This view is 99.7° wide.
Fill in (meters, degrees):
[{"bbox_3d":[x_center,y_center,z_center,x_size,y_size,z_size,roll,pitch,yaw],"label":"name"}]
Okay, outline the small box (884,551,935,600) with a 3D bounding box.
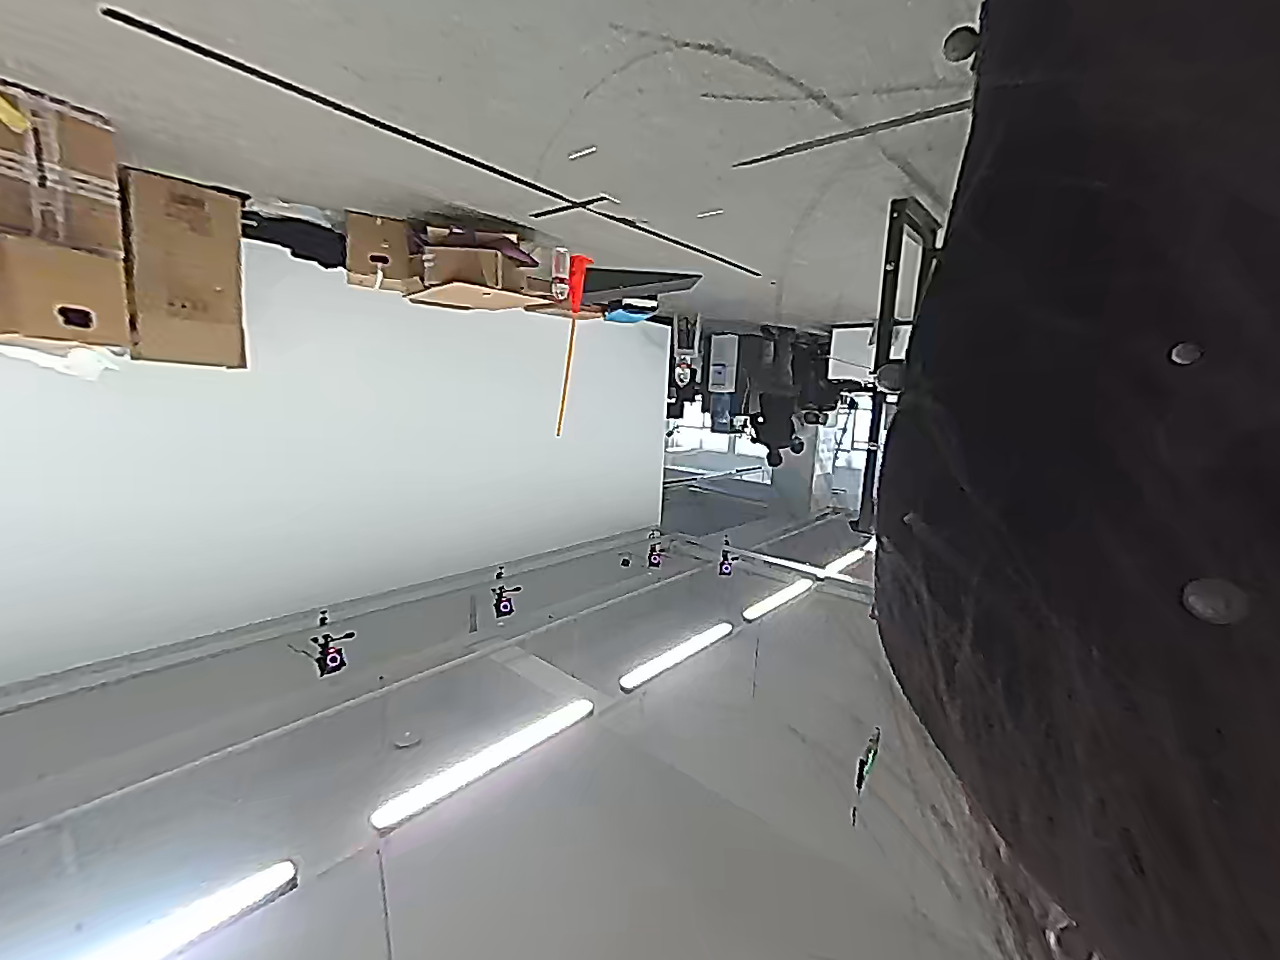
[{"bbox_3d":[1.269,0.442,2.539,0.179,0.176,0.168,9,-165,38],"label":"small box"}]
